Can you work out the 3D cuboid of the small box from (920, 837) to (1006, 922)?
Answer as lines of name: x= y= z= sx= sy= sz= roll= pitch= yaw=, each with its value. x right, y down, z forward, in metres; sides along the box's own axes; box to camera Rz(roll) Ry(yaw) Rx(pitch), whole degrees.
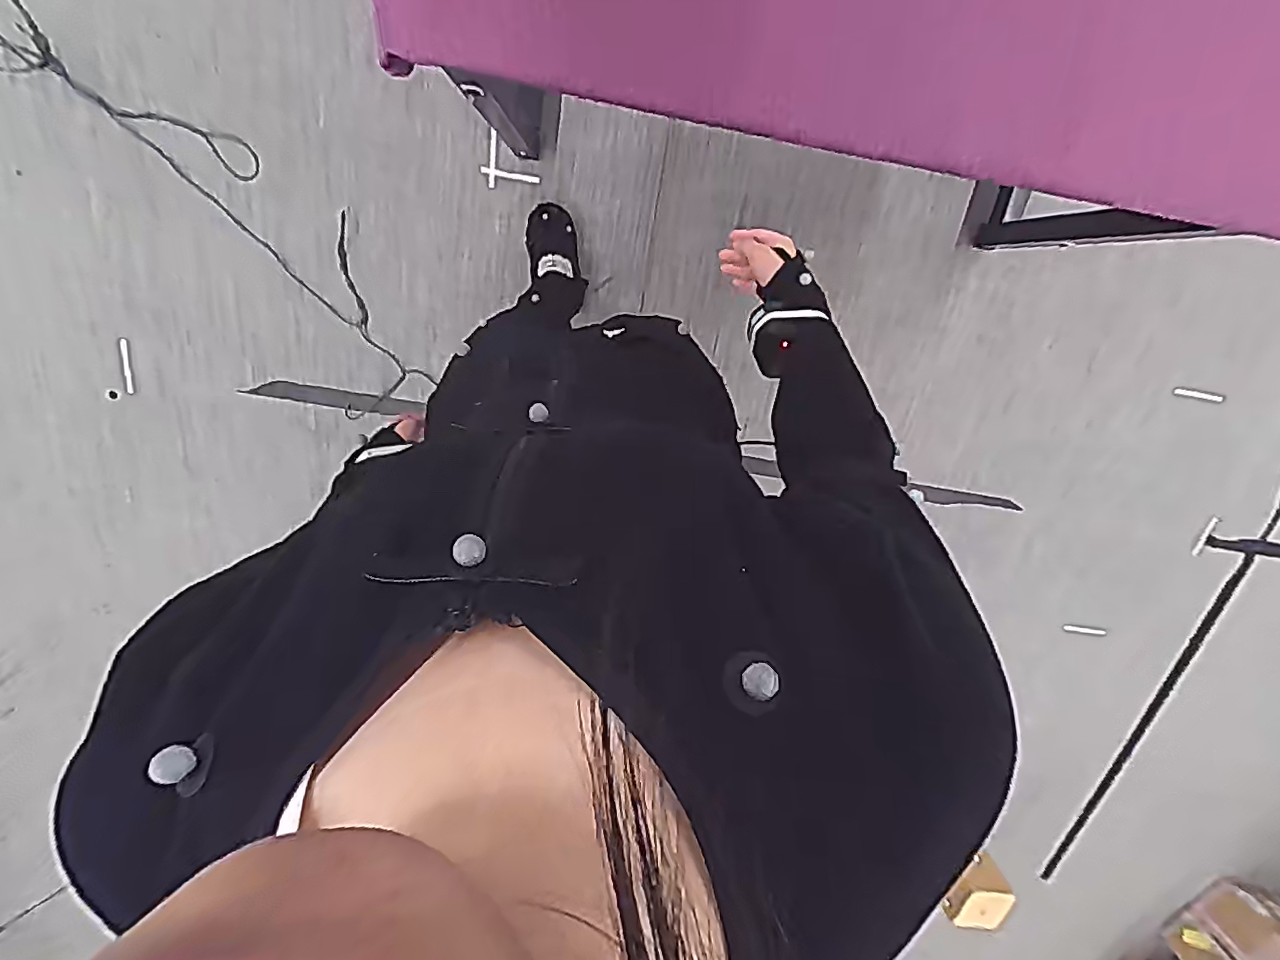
small box: x=1.122 y=1.399 z=1.898 sx=0.168 sy=0.176 sz=0.179 roll=12 pitch=110 yaw=-8
